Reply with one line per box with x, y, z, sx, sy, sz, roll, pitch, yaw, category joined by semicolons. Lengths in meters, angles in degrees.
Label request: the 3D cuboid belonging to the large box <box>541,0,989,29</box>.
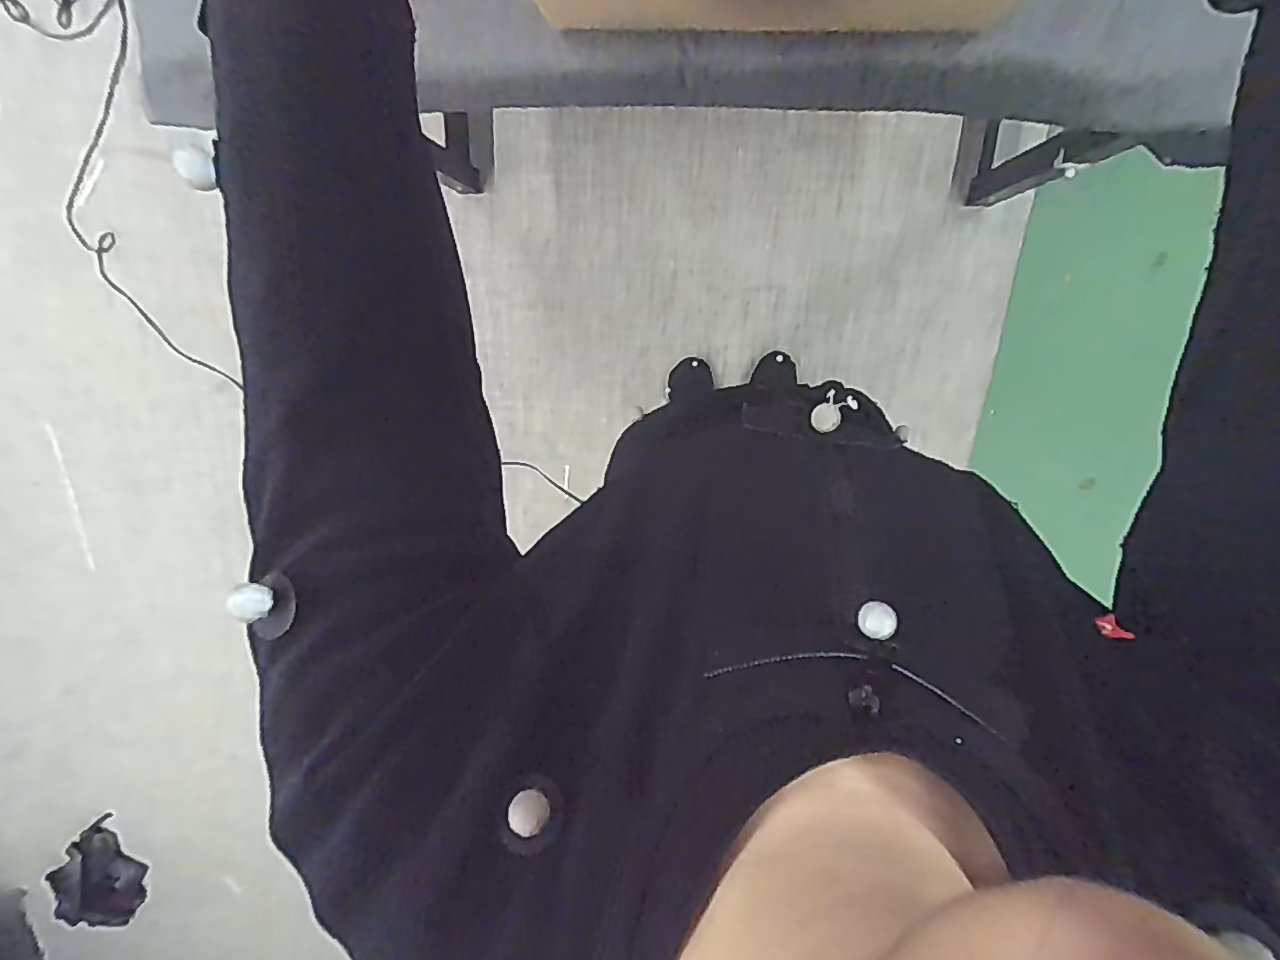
0.097;-0.516;0.317;0.408;0.320;0.320;4;113;5;large box
